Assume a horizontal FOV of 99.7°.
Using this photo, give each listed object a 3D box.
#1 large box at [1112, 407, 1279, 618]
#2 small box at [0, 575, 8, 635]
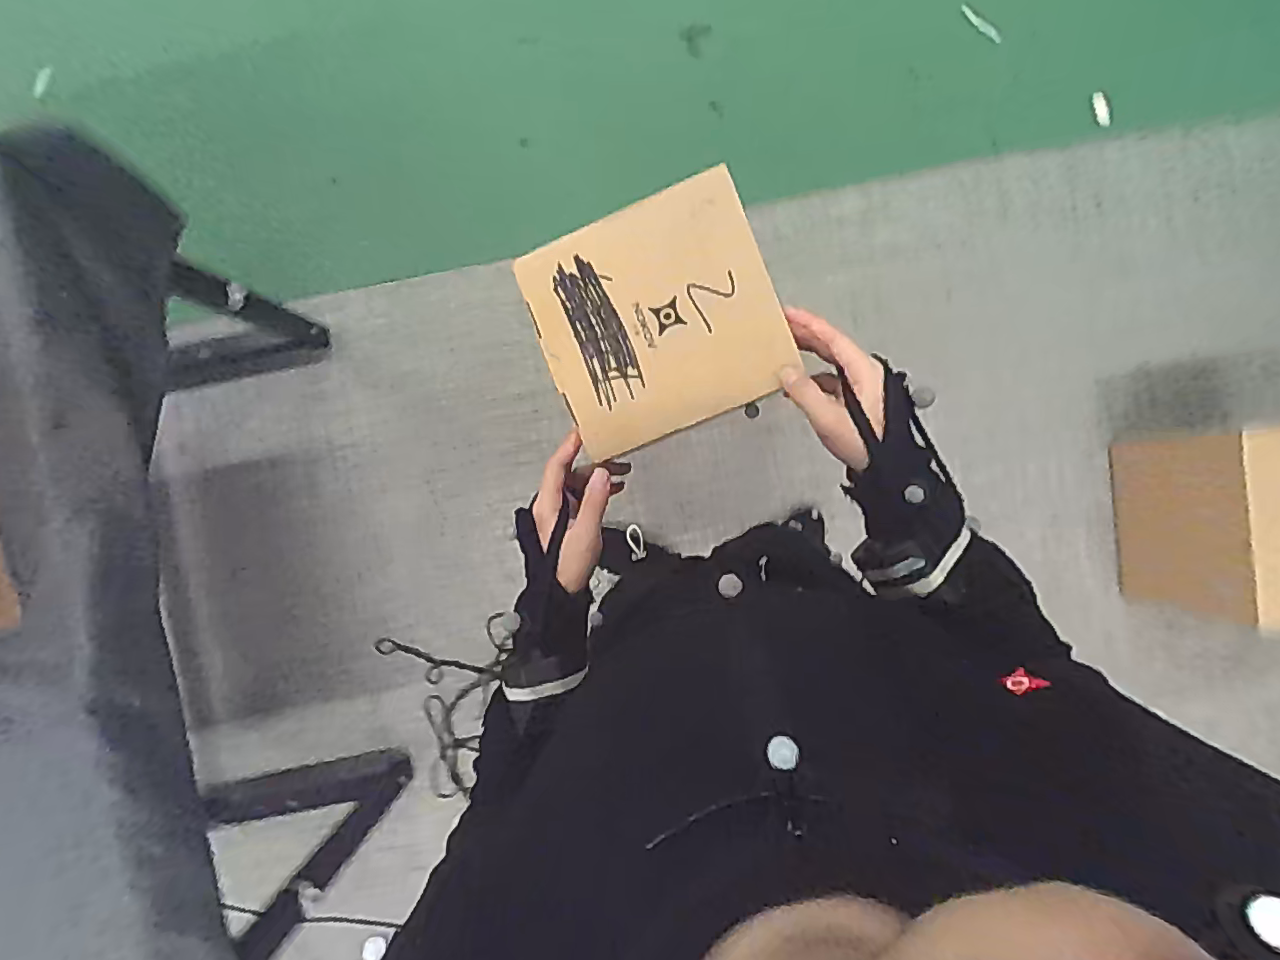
[{"bbox_3d":[1.345,0.053,1.201,0.320,0.320,0.408,-7,91,1],"label":"large box"},{"bbox_3d":[-0.842,0.127,0.569,0.179,0.176,0.168,-20,89,2],"label":"small box"}]
